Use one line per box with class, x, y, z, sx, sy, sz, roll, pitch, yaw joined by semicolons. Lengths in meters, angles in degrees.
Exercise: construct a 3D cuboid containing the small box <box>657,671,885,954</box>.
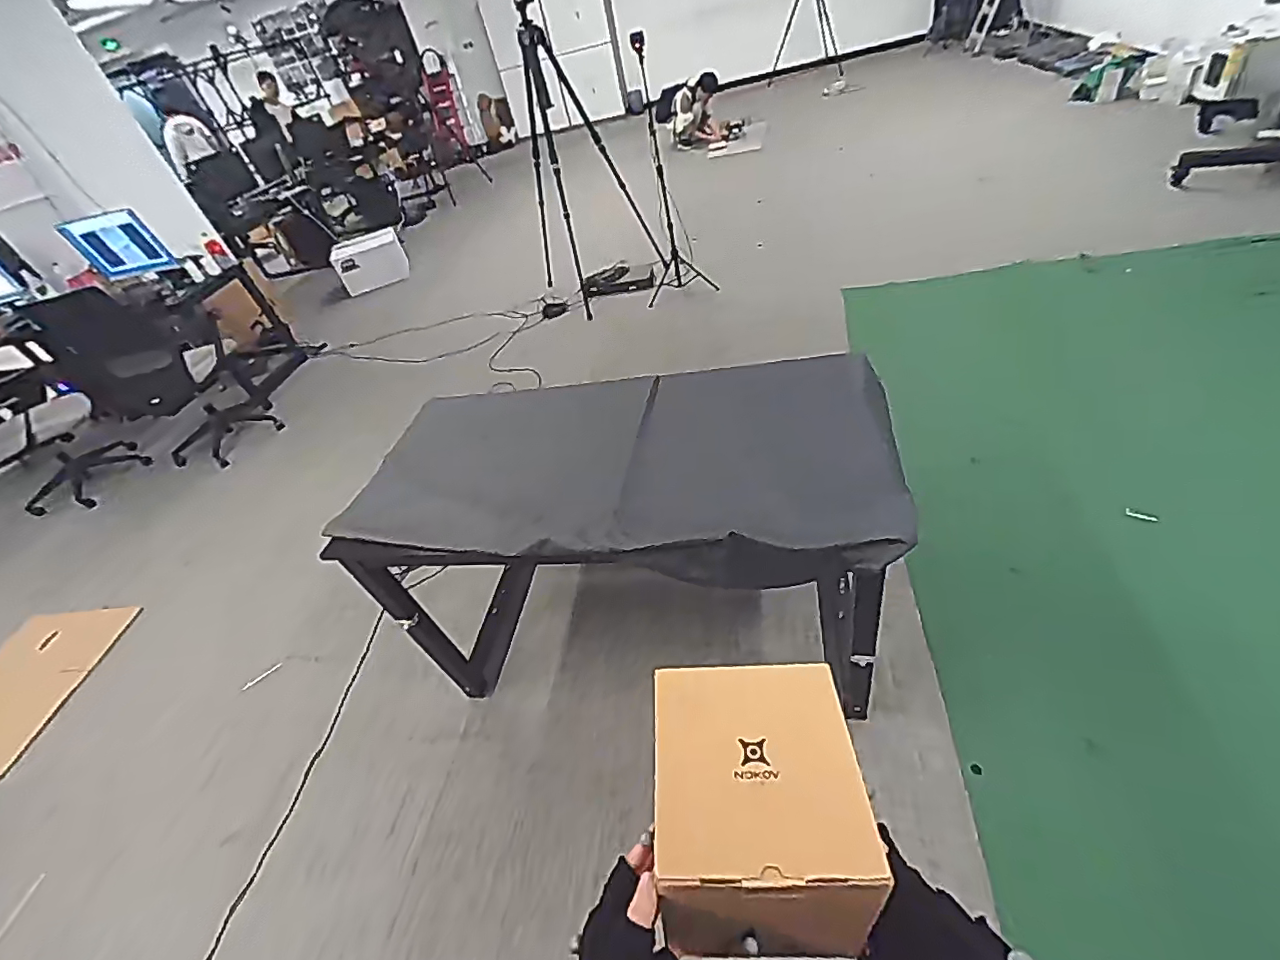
small box;0.101;0.302;0.502;0.168;0.176;0.179;-3;37;4
